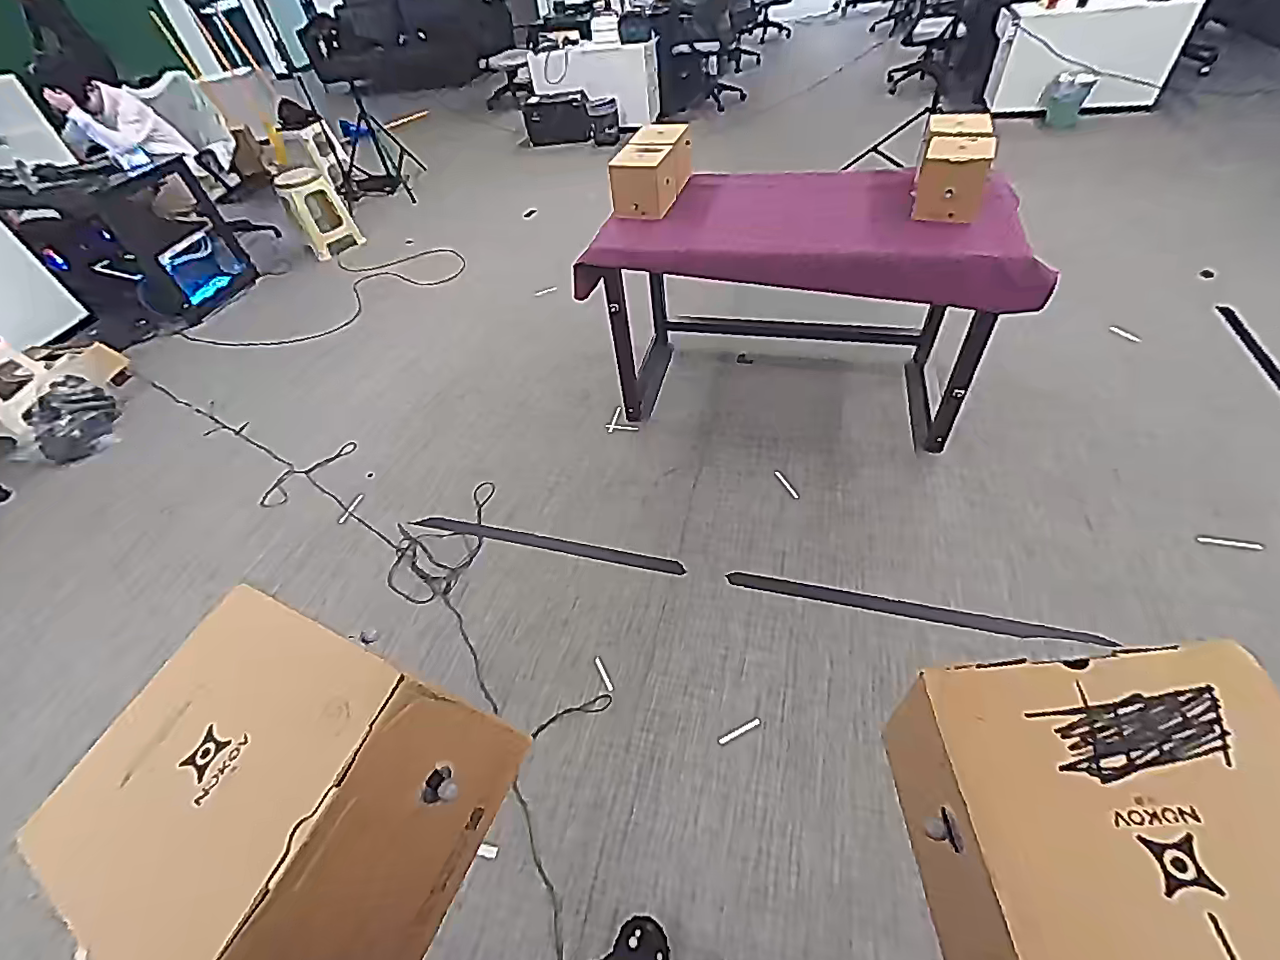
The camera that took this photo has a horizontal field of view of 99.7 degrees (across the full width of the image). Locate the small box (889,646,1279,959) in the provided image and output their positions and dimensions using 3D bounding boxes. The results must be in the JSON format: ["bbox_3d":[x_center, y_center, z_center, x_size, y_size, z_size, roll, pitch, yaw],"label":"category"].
[{"bbox_3d":[0.264,0.216,0.318,0.168,0.176,0.179,-9,54,8],"label":"small box"}]

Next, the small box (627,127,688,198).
[{"bbox_3d":[0.067,-1.116,1.899,0.168,0.176,0.179,11,52,17],"label":"small box"}]

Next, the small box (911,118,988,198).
[{"bbox_3d":[0.948,-0.995,1.668,0.168,0.176,0.179,11,50,16],"label":"small box"}]

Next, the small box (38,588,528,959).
[{"bbox_3d":[-0.206,0.201,0.360,0.179,0.176,0.168,12,58,28],"label":"small box"}]
